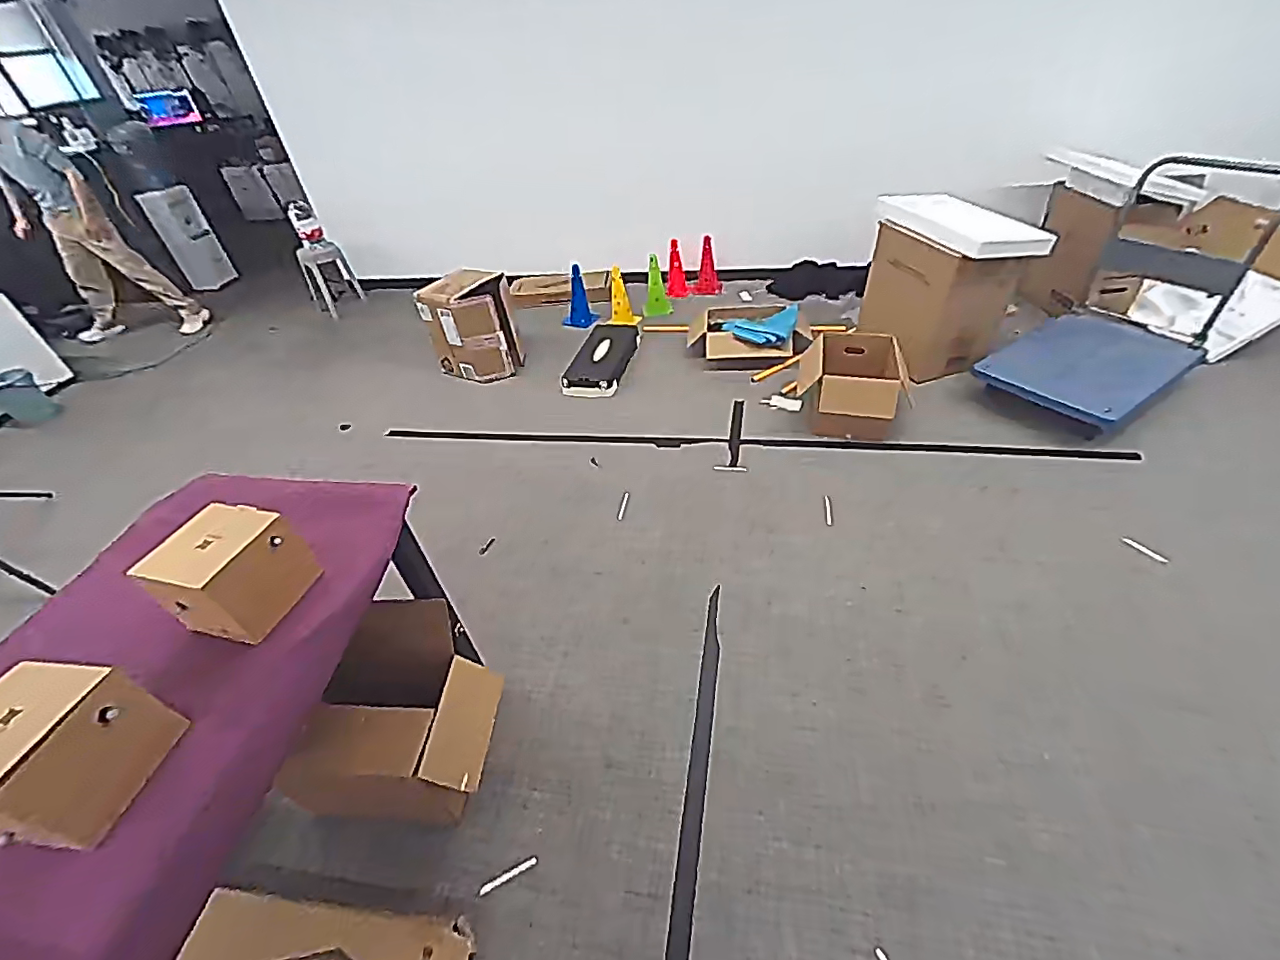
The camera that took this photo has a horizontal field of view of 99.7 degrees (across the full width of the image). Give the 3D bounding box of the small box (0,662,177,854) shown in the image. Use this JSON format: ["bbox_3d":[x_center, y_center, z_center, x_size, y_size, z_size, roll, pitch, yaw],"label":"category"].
[{"bbox_3d":[-0.799,0.377,0.742,0.168,0.176,0.179,-1,41,11],"label":"small box"}]

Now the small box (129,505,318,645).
[{"bbox_3d":[-0.730,0.171,0.975,0.168,0.176,0.179,6,42,15],"label":"small box"}]
